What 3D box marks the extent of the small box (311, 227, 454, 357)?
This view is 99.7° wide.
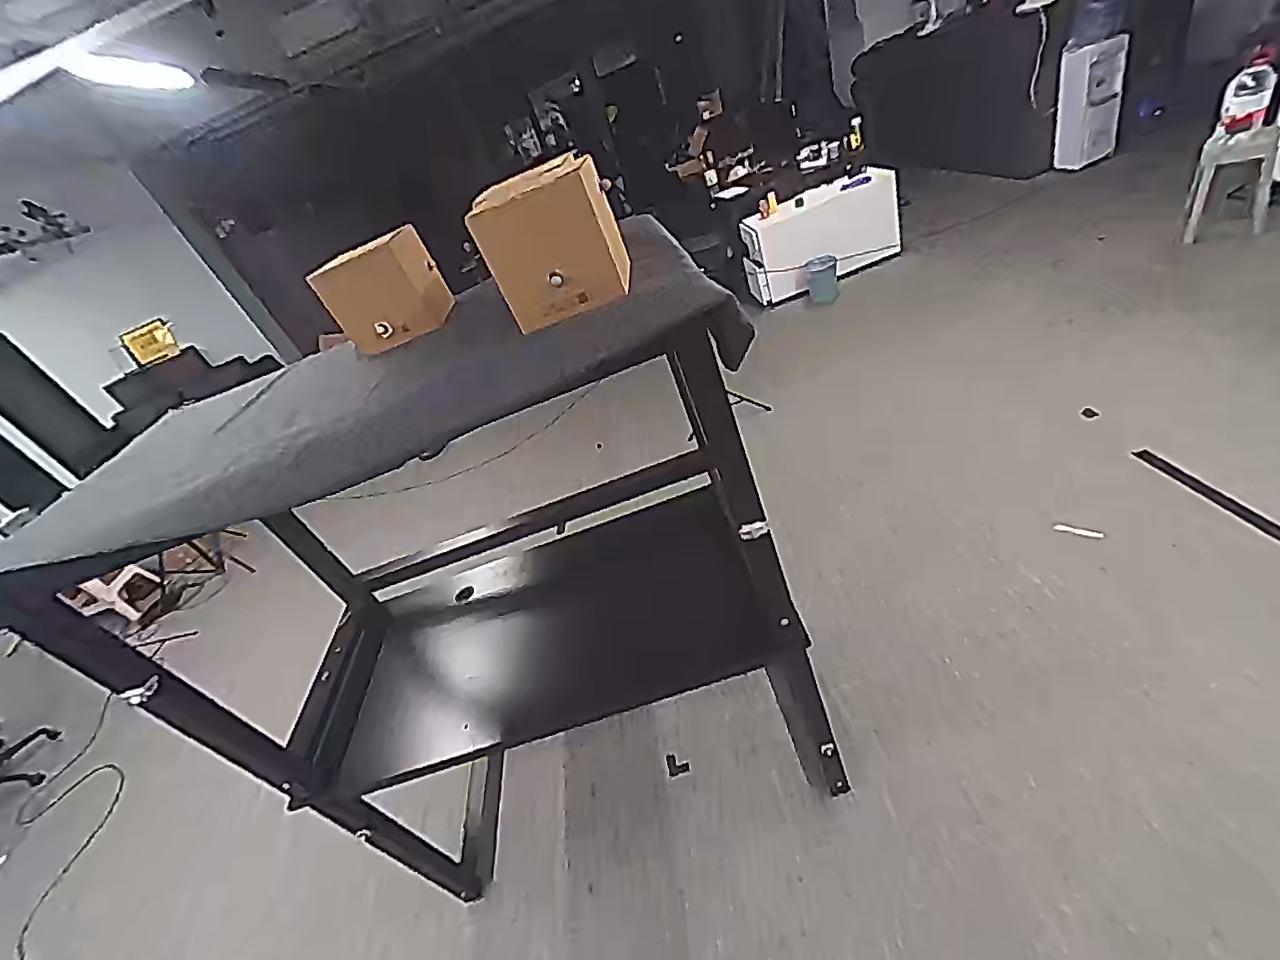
[{"bbox_3d":[-0.484,-0.364,1.051,0.168,0.176,0.179,-21,34,6],"label":"small box"}]

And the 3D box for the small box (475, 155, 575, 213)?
[{"bbox_3d":[-0.167,-0.452,0.974,0.168,0.176,0.179,-17,36,11],"label":"small box"}]

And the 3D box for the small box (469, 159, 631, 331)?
[{"bbox_3d":[-0.119,-0.344,0.797,0.168,0.176,0.179,-17,34,12],"label":"small box"}]
